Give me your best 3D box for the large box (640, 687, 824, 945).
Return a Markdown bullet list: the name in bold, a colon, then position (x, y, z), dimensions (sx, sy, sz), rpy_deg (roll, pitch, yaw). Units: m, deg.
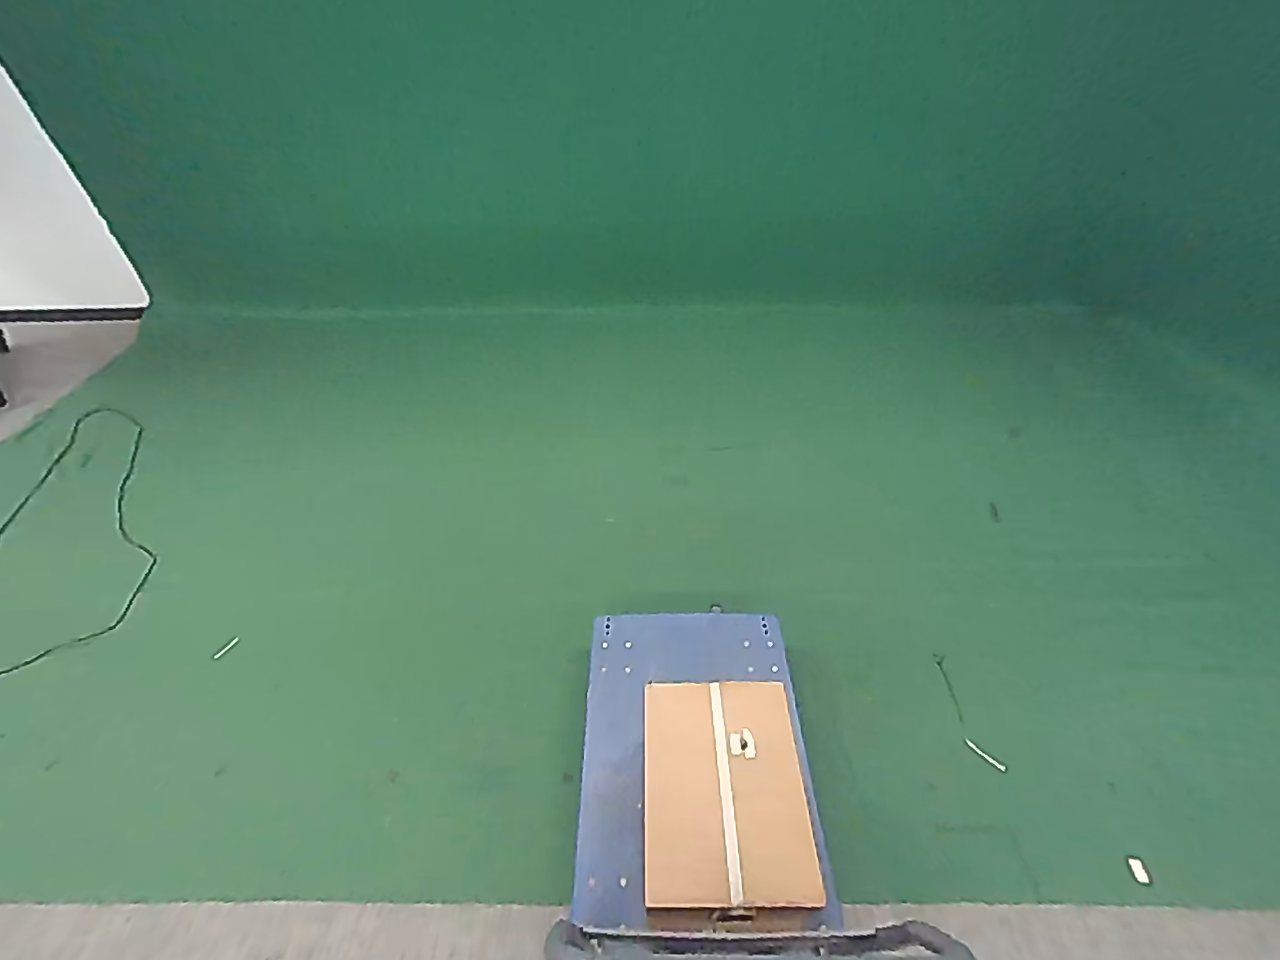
- **large box**: position (0.163, 0.714, 1.166), dimensions (0.320, 0.320, 0.408), rpy_deg (-1, 42, 0)
